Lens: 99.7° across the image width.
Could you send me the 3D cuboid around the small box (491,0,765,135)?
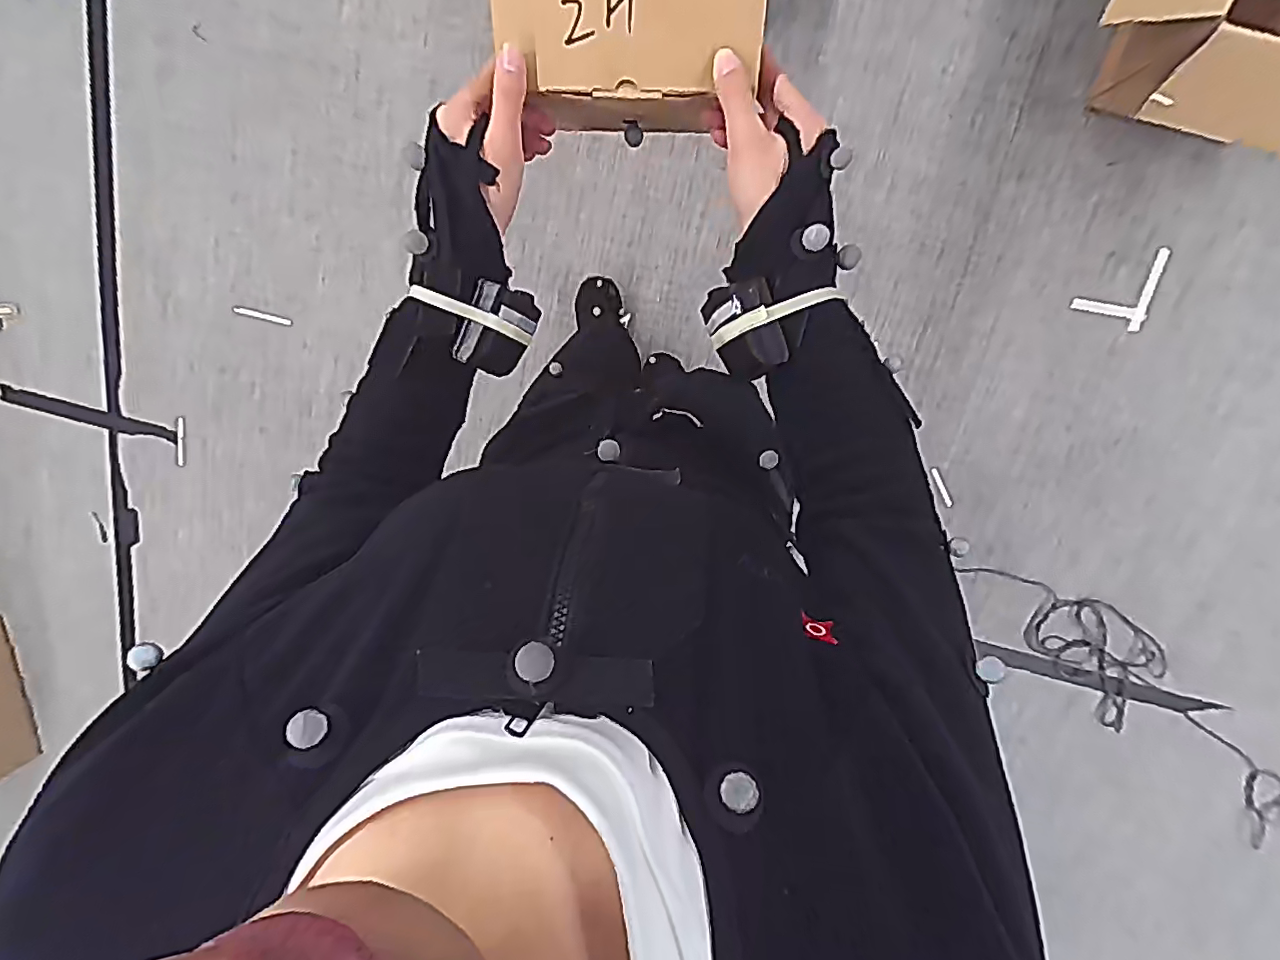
[{"bbox_3d":[-0.003,-0.357,0.374,0.168,0.176,0.179,3,116,2],"label":"small box"}]
